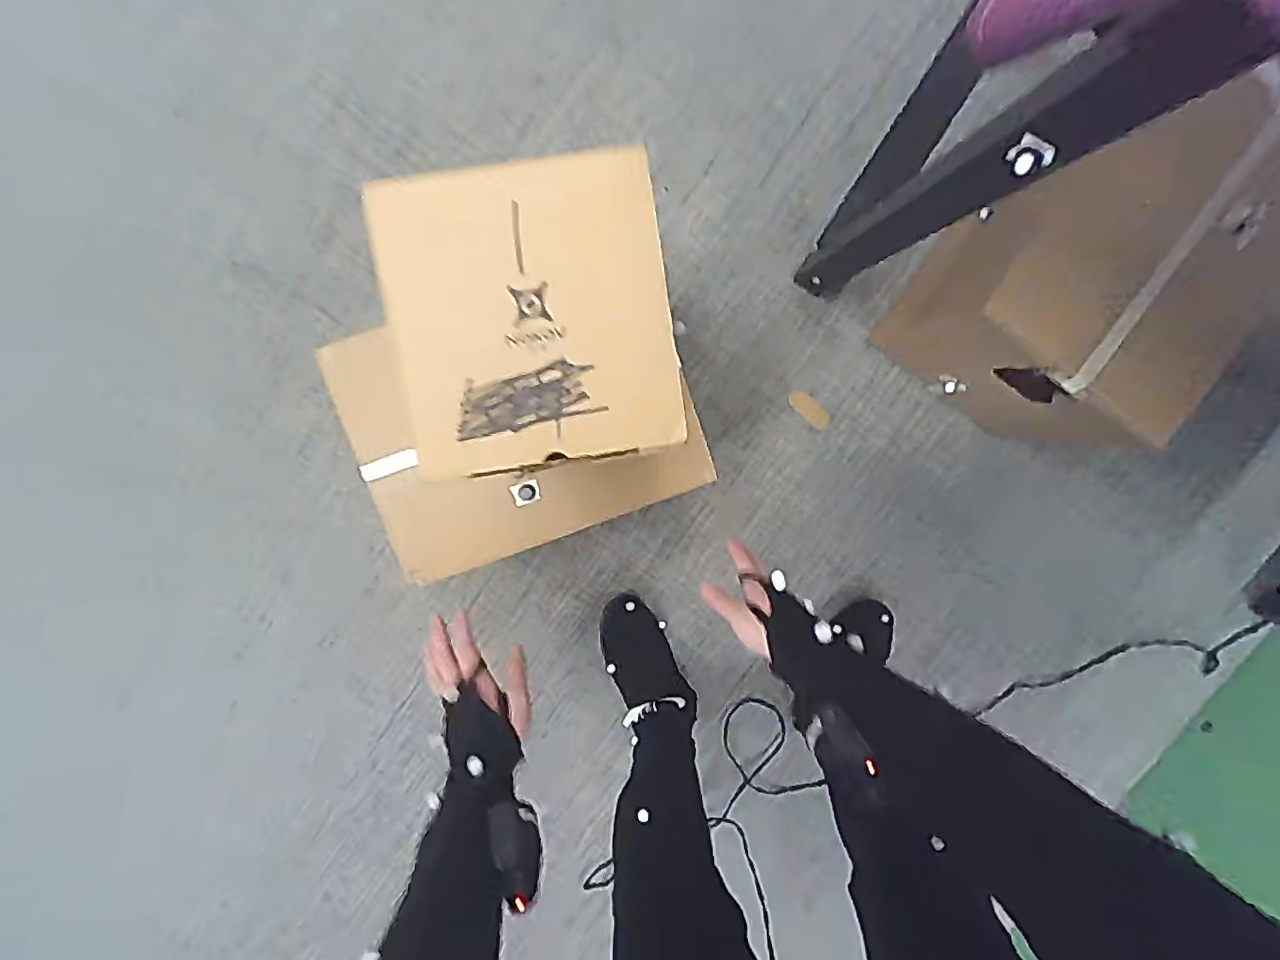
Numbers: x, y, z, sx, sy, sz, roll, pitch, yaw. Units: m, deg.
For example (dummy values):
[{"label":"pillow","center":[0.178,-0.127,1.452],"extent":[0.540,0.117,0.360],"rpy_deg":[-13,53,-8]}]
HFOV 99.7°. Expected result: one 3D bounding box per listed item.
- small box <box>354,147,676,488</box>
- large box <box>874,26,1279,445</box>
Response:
[{"label":"small box","center":[-0.070,-0.100,0.392],"extent":[0.168,0.176,0.179],"rpy_deg":[-9,96,-1]},{"label":"large box","center":[0.644,-0.303,0.808],"extent":[0.320,0.320,0.408],"rpy_deg":[34,94,-7]}]
